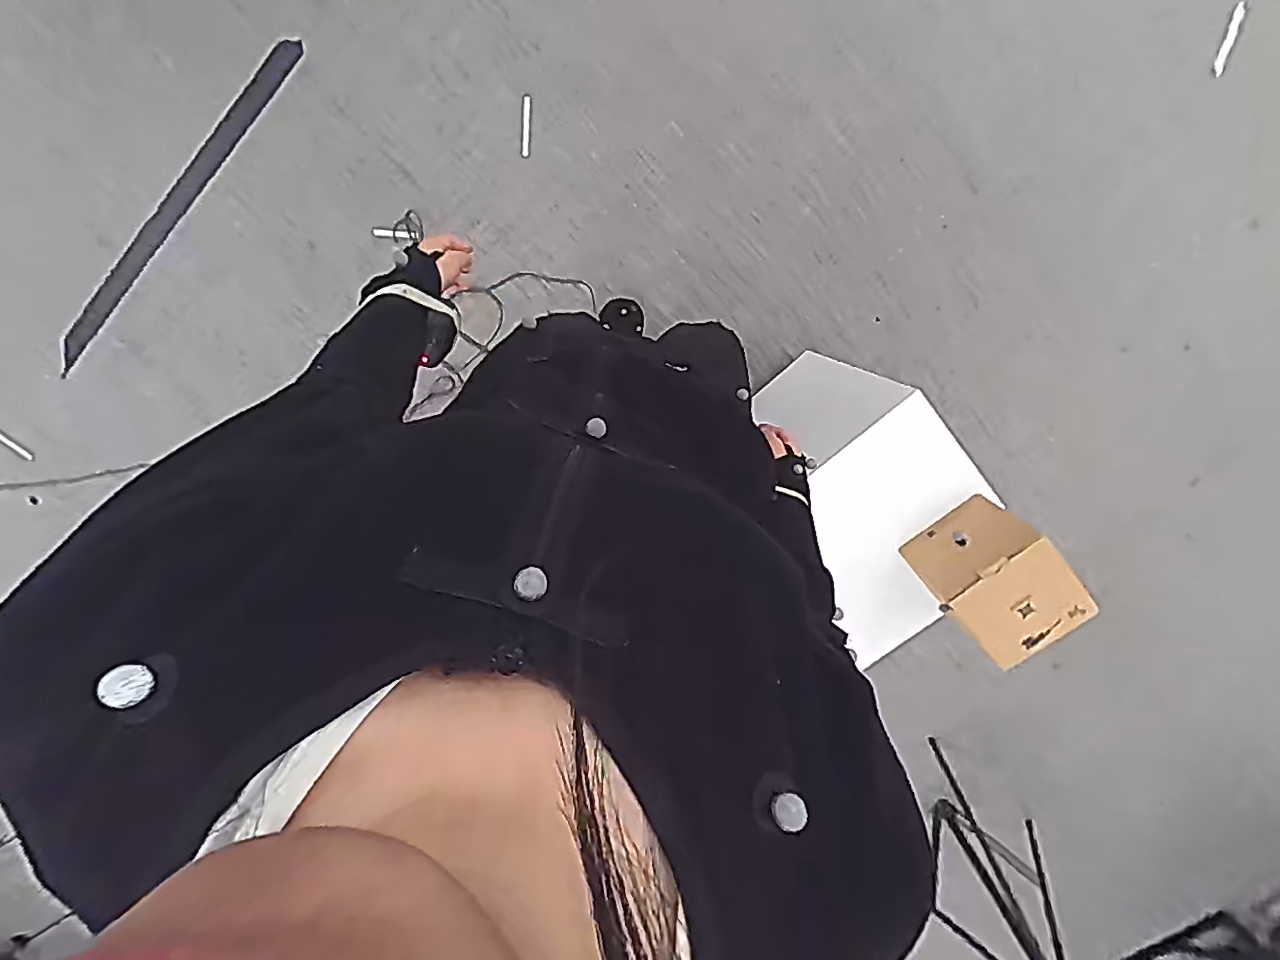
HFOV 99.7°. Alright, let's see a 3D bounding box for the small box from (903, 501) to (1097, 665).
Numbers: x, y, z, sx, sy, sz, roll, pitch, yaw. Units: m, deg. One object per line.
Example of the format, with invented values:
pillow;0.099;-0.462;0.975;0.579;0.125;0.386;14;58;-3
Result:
small box;0.572;0.154;0.885;0.168;0.176;0.179;-40;104;14
